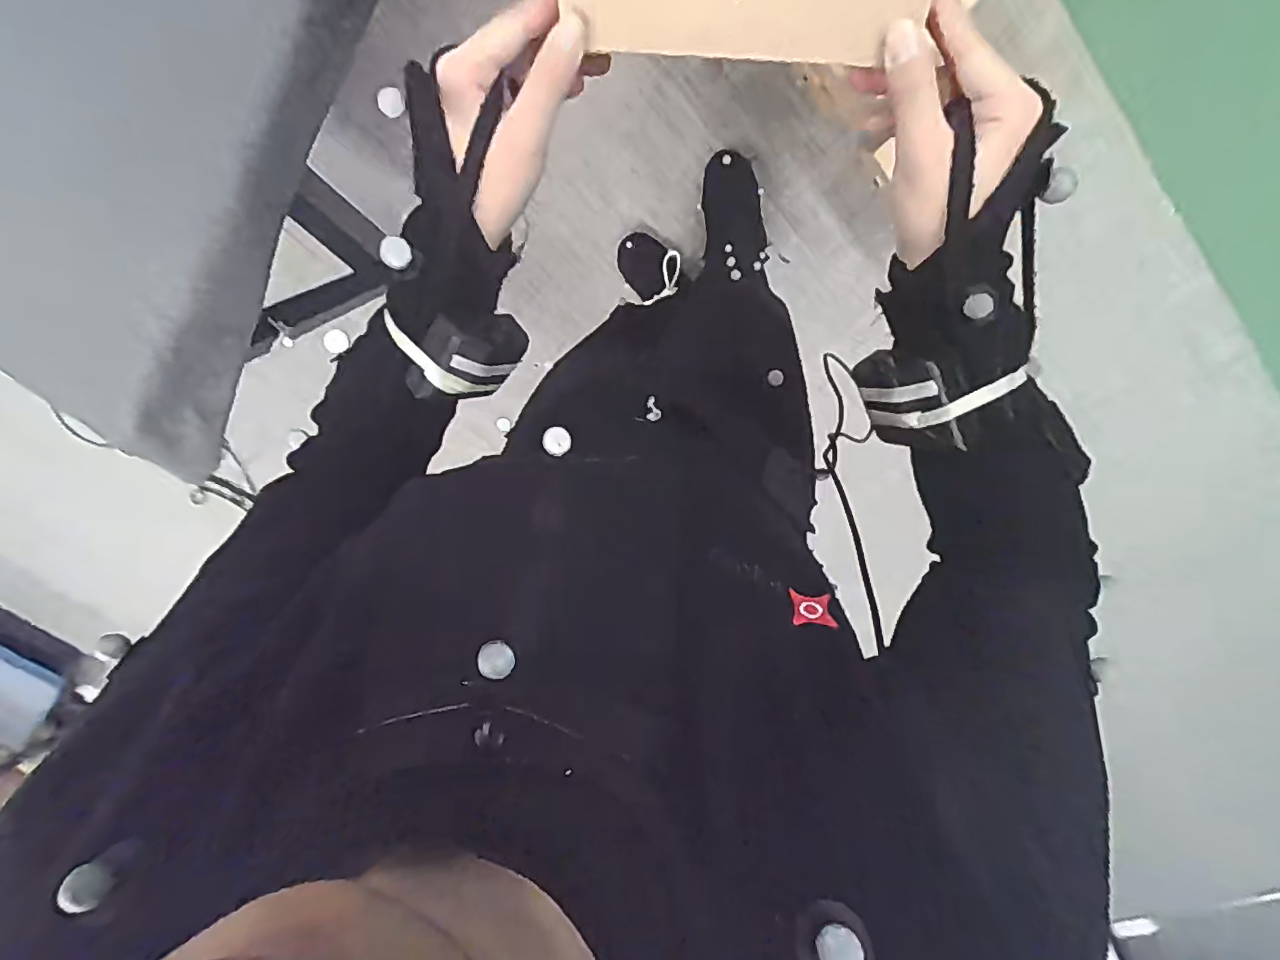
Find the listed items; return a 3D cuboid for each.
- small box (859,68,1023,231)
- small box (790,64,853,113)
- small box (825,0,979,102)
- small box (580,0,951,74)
[{"bbox_3d":[0.518,-0.580,0.957,0.179,0.176,0.168,-36,110,28],"label":"small box"},{"bbox_3d":[0.340,-0.736,0.881,0.168,0.176,0.179,41,119,-16],"label":"small box"},{"bbox_3d":[0.334,-0.657,0.736,0.168,0.176,0.179,39,119,-16],"label":"small box"},{"bbox_3d":[0.064,-0.314,0.259,0.168,0.176,0.179,6,130,1],"label":"small box"}]
